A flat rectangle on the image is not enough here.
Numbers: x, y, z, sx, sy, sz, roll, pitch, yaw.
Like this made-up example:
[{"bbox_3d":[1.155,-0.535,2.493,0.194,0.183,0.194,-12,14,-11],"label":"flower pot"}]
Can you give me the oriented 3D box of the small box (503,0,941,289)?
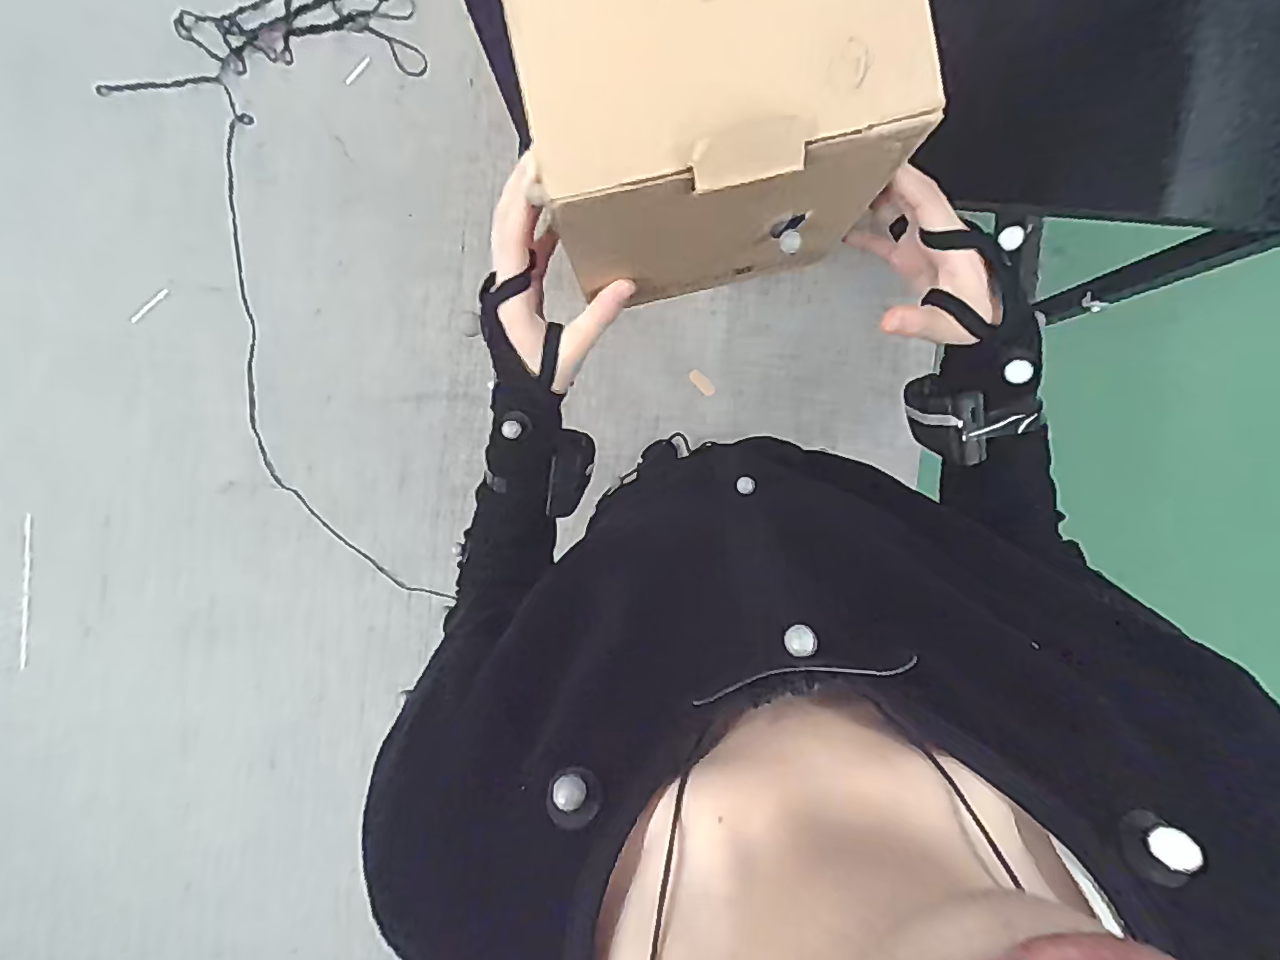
[{"bbox_3d":[0.025,-0.218,0.292,0.168,0.176,0.179,-11,91,1],"label":"small box"}]
